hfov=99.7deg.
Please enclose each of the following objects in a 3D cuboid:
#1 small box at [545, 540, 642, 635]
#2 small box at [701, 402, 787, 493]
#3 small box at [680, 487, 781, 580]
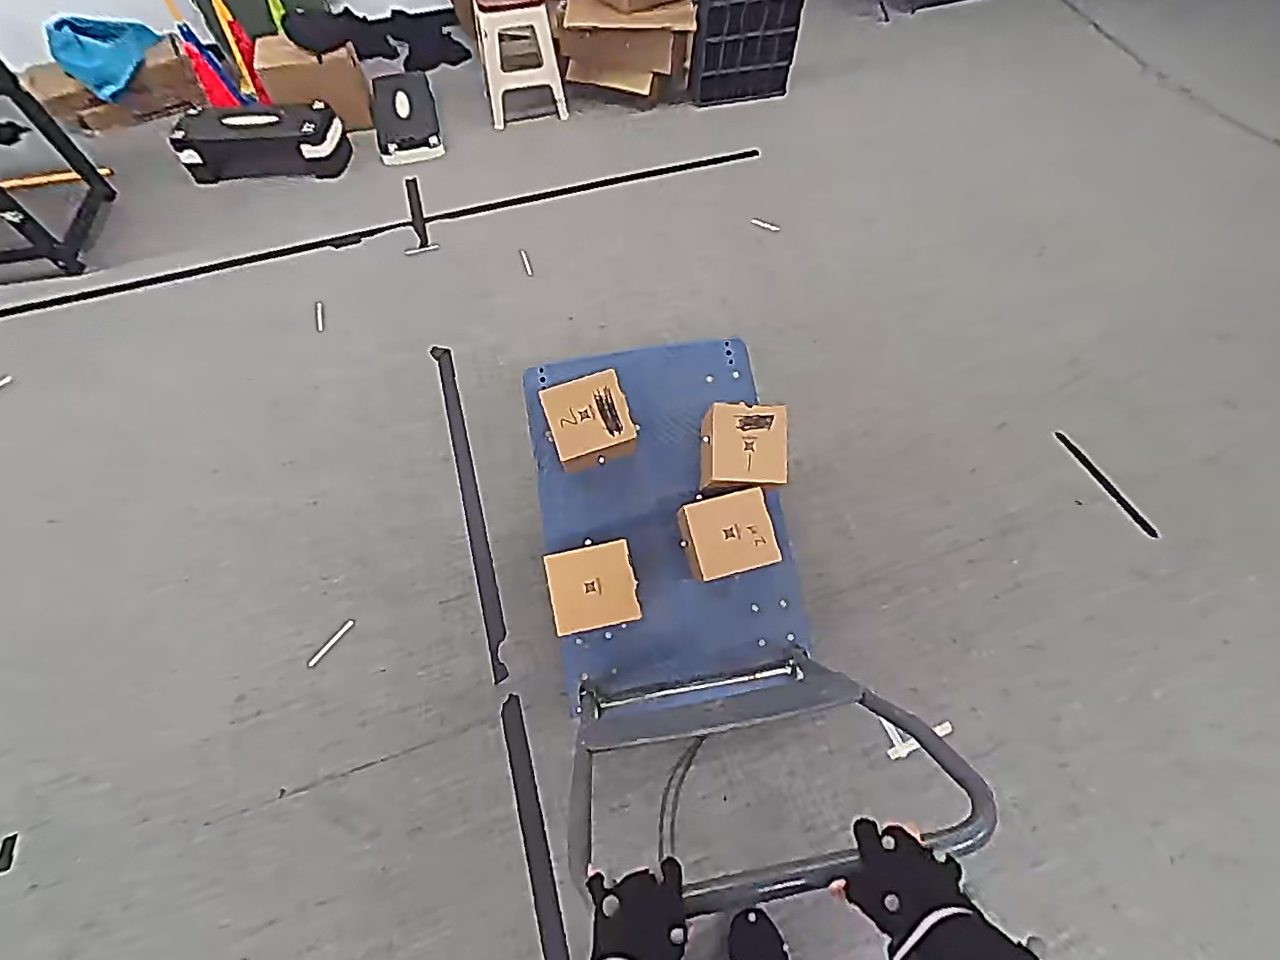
[{"bbox_3d":[-0.100,0.234,1.186,0.179,0.176,0.168,-12,81,-6],"label":"small box"},{"bbox_3d":[0.234,-0.069,1.251,0.168,0.176,0.179,2,81,-2],"label":"small box"},{"bbox_3d":[0.192,0.125,1.216,0.179,0.176,0.168,-14,82,-5],"label":"small box"}]
